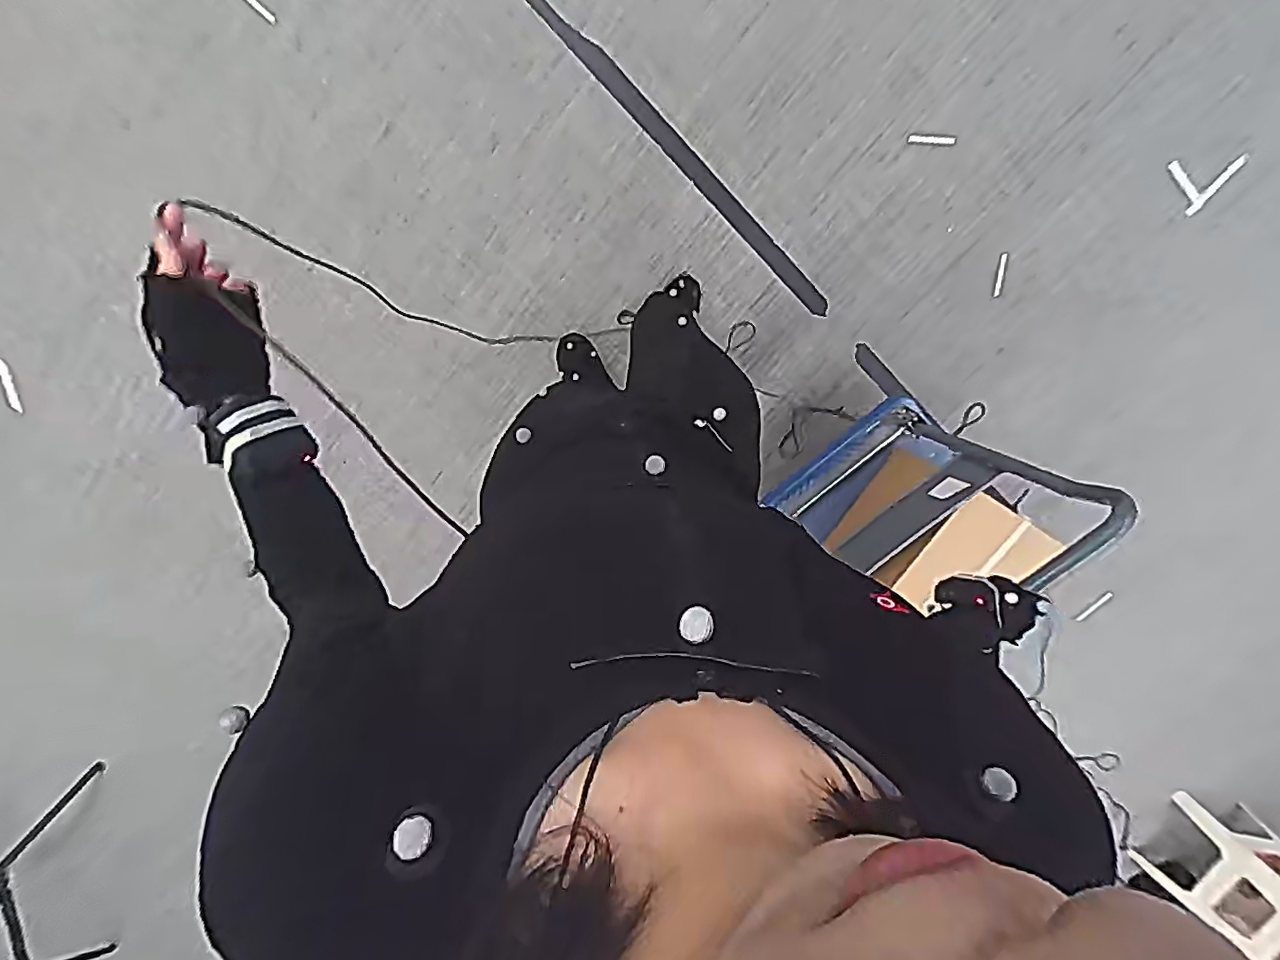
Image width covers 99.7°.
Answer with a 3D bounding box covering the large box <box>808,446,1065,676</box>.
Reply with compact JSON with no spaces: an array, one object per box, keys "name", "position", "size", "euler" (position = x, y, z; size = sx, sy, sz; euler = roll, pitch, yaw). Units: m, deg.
[{"name":"large box","position":[0.698,0.188,1.339],"size":[0.320,0.320,0.408],"euler":[28,106,-13]}]
